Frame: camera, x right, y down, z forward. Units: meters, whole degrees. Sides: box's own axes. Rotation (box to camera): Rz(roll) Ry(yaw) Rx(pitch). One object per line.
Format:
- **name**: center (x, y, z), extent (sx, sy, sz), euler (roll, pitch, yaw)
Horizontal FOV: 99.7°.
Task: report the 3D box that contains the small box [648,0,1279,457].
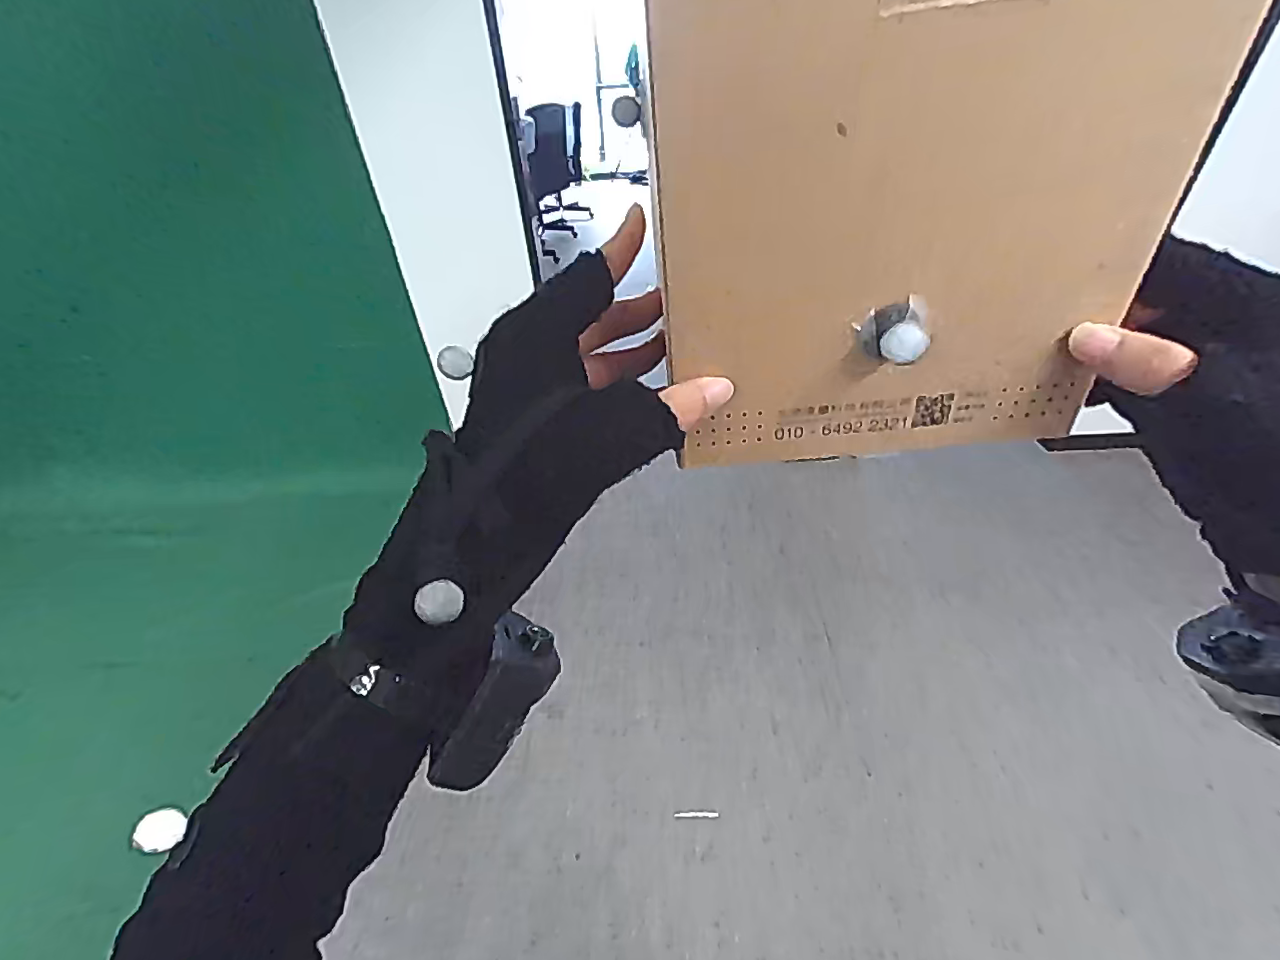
- **small box**: center (0.091, -0.130, 0.246), extent (0.168, 0.176, 0.179), euler (-6, 39, 3)
